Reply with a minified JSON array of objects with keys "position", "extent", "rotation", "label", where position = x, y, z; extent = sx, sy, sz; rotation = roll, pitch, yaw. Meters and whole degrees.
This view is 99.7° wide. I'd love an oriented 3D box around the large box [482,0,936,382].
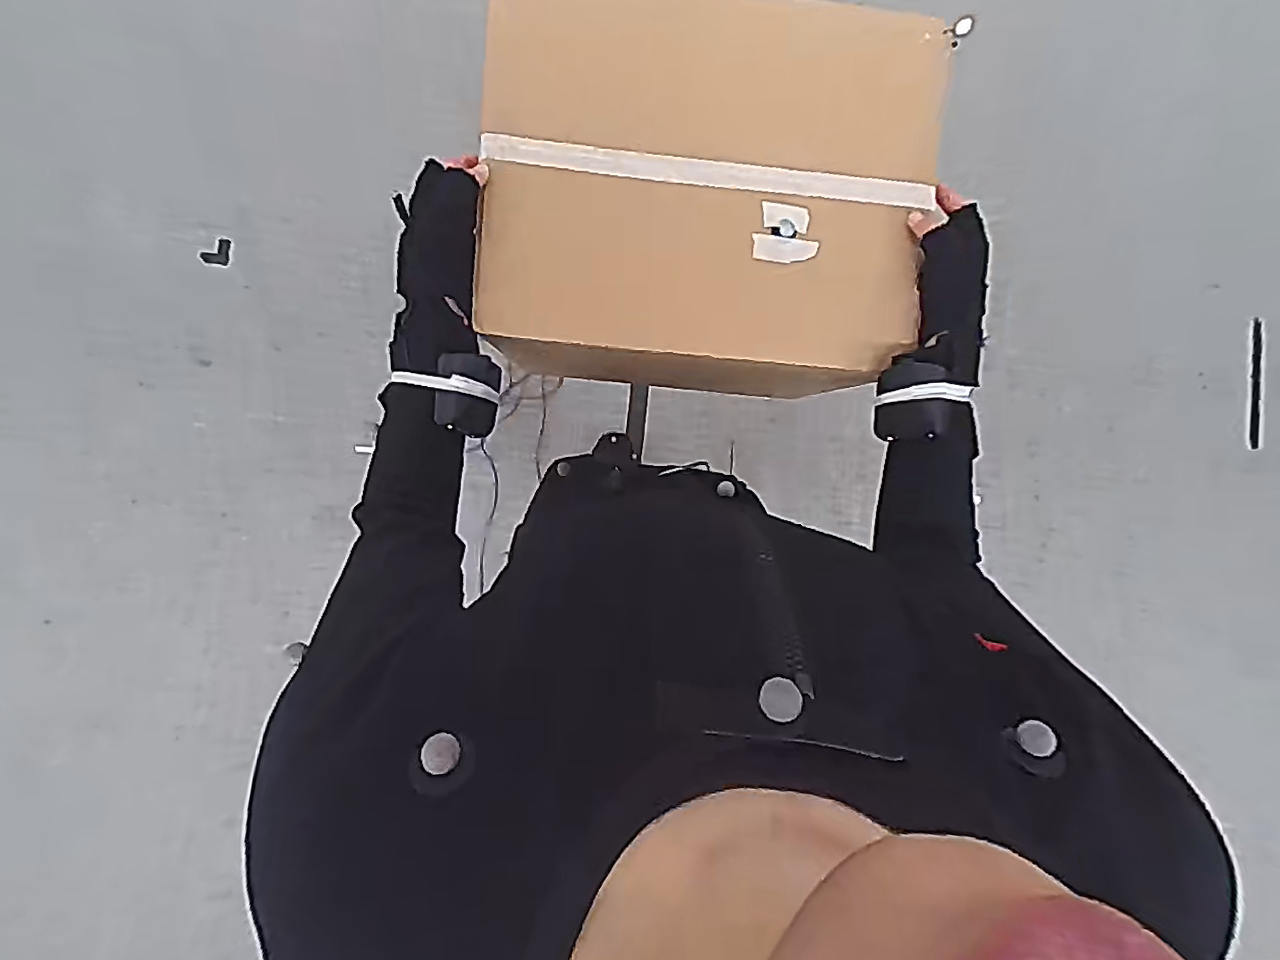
[{"position":[0.051,-0.297,0.638],"extent":[0.408,0.320,0.320],"rotation":[5,96,-5],"label":"large box"}]
